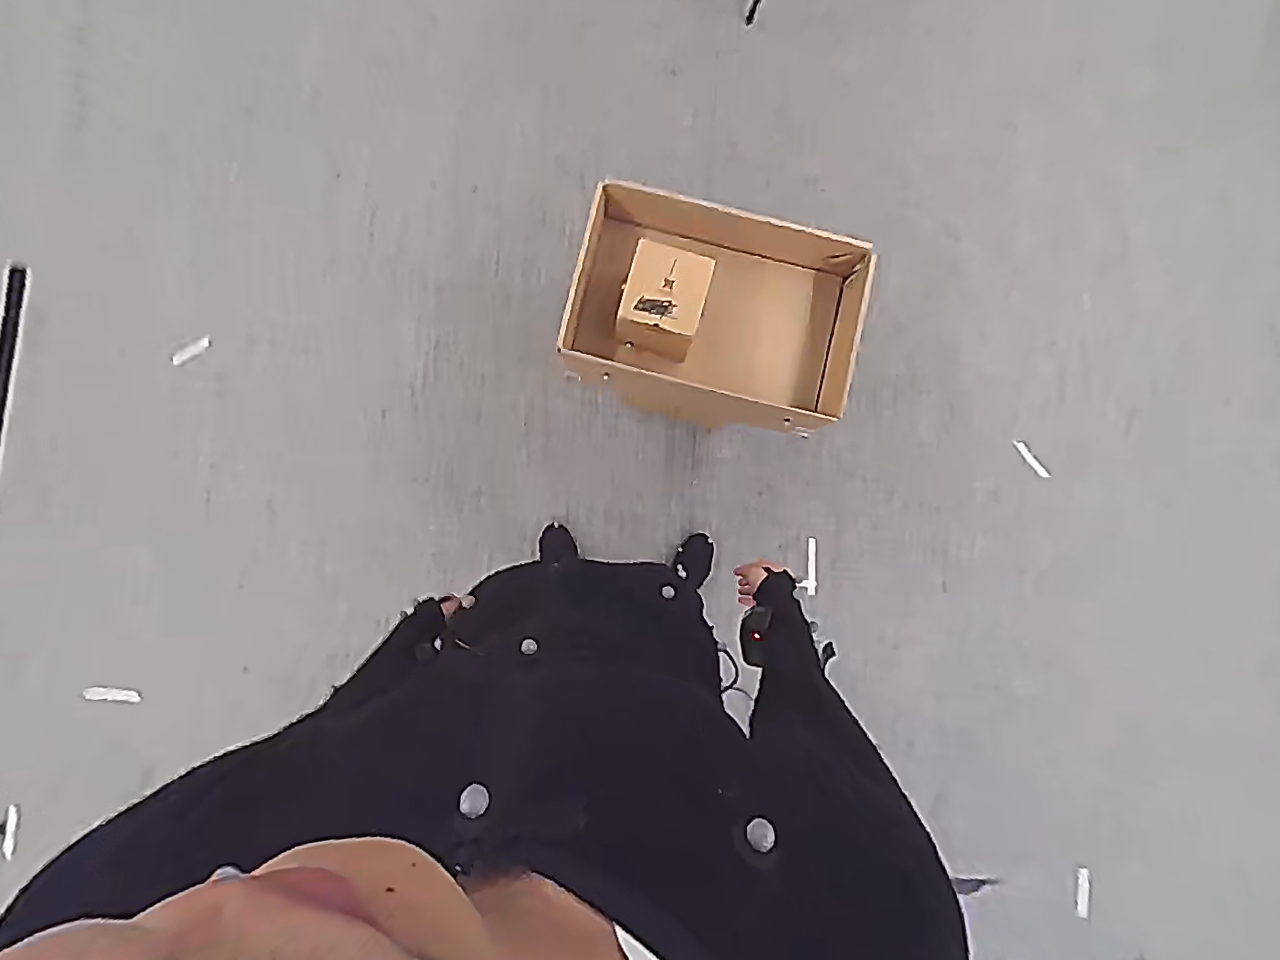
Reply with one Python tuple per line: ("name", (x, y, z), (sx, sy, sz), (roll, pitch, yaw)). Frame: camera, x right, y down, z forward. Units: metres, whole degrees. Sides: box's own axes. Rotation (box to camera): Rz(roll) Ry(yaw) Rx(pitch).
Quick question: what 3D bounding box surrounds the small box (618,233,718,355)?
("small box", (0.056, -0.392, 1.175), (0.168, 0.176, 0.179), (17, 85, -2))
